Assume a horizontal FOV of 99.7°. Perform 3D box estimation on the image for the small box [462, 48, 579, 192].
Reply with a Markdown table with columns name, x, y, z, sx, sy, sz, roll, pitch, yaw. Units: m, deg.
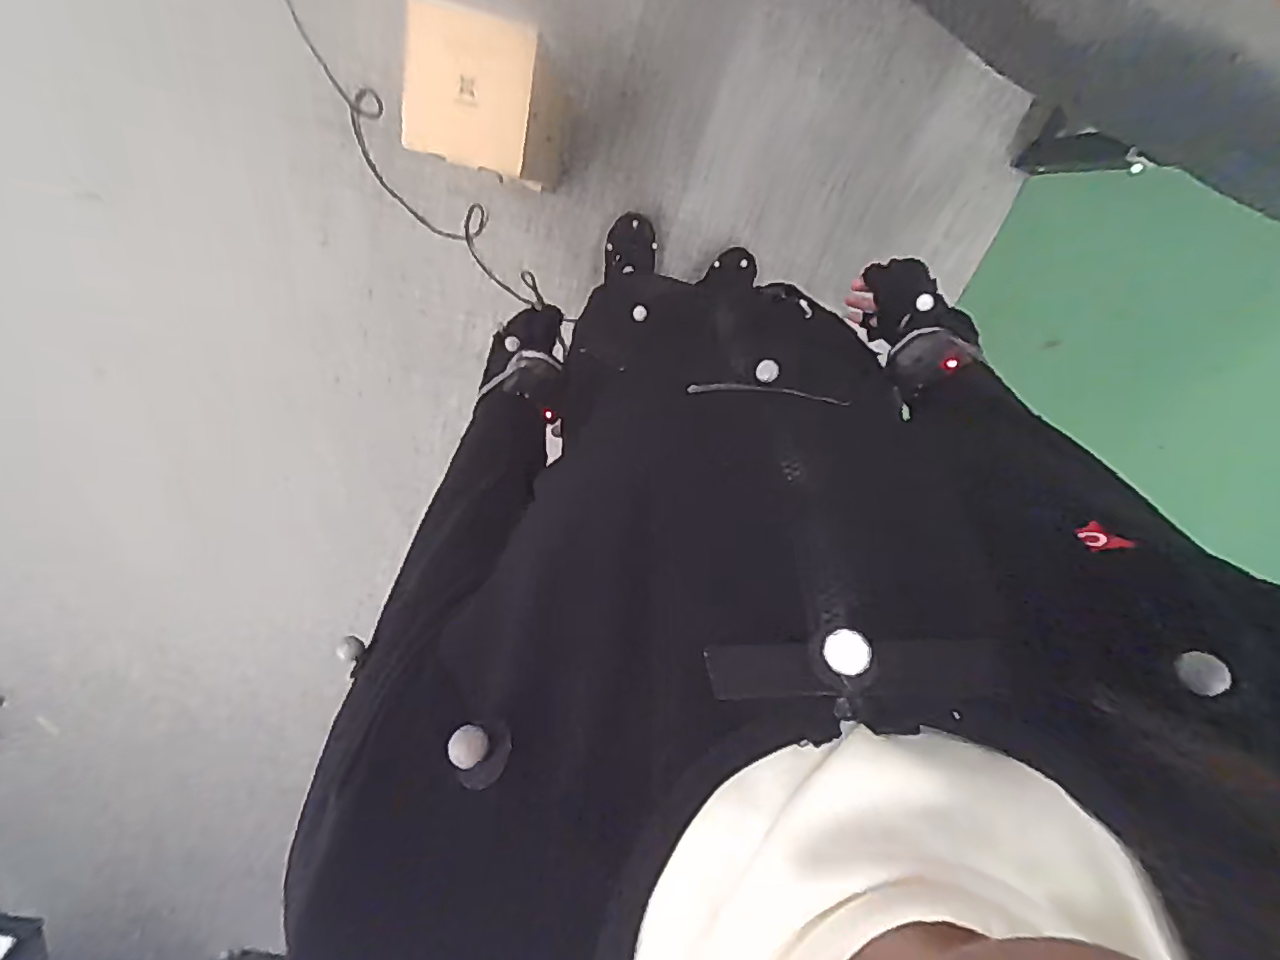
| name | x | y | z | sx | sy | sz | roll | pitch | yaw |
| --- | --- | --- | --- | --- | --- | --- | --- | --- | --- |
| small box | -0.229 | -0.700 | 1.073 | 0.168 | 0.176 | 0.179 | 24 | 116 | -11 |
